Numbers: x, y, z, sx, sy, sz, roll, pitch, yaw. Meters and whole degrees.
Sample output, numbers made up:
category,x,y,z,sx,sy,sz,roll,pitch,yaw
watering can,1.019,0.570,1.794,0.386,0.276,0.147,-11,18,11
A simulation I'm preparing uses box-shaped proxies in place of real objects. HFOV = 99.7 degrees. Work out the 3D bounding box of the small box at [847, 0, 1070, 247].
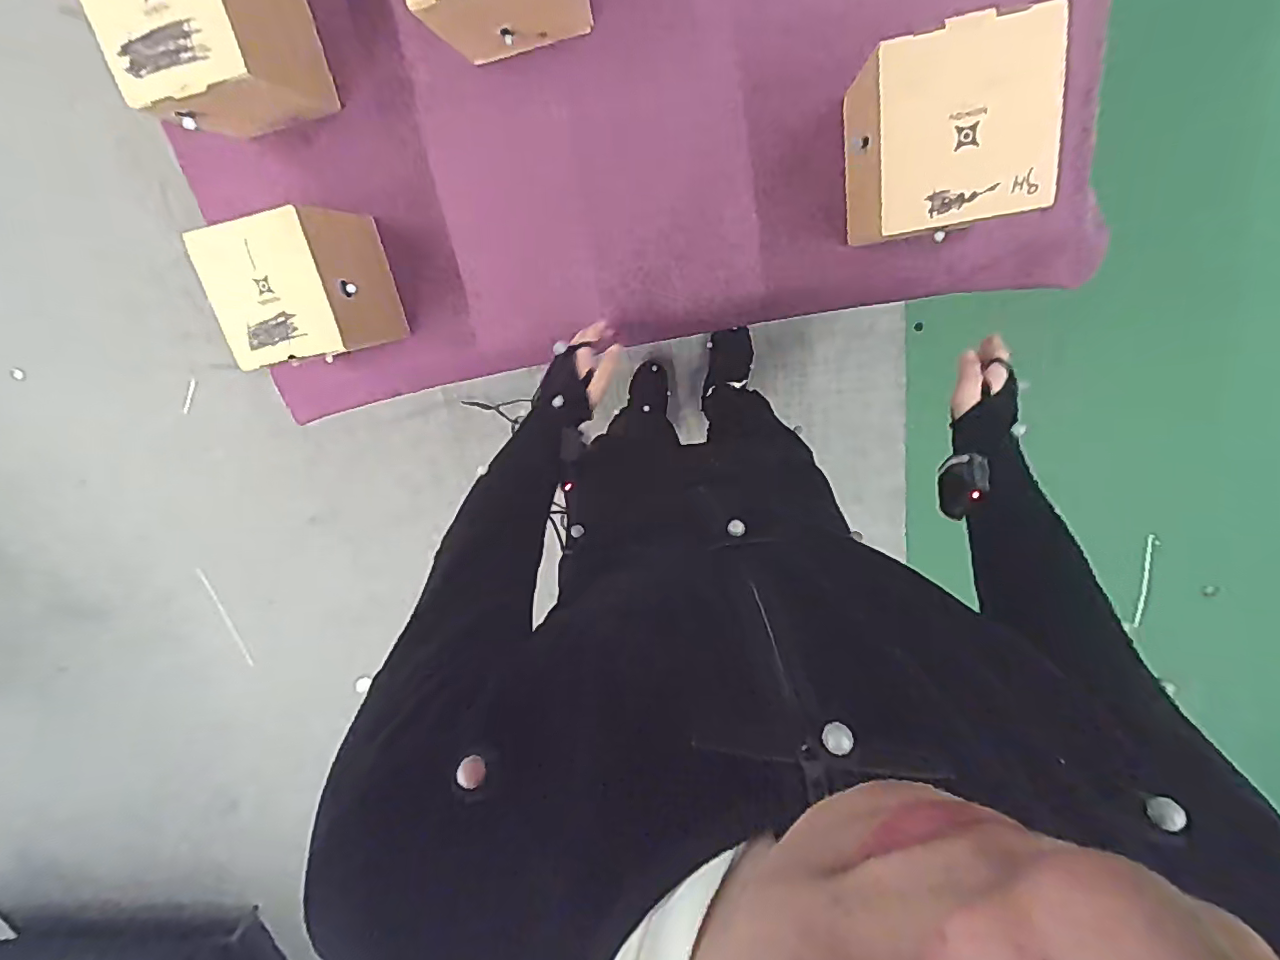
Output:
category,x,y,z,sx,sy,sz,roll,pitch,yaw
small box,0.335,-0.373,0.604,0.168,0.176,0.179,-6,108,11

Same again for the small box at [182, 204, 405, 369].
category,x,y,z,sx,sy,sz,roll,pitch,yaw
small box,-0.461,-0.266,0.753,0.168,0.176,0.179,-8,109,10

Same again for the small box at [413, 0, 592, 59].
category,x,y,z,sx,sy,sz,roll,pitch,yaw
small box,-0.160,-0.604,0.584,0.168,0.176,0.179,-8,111,10
